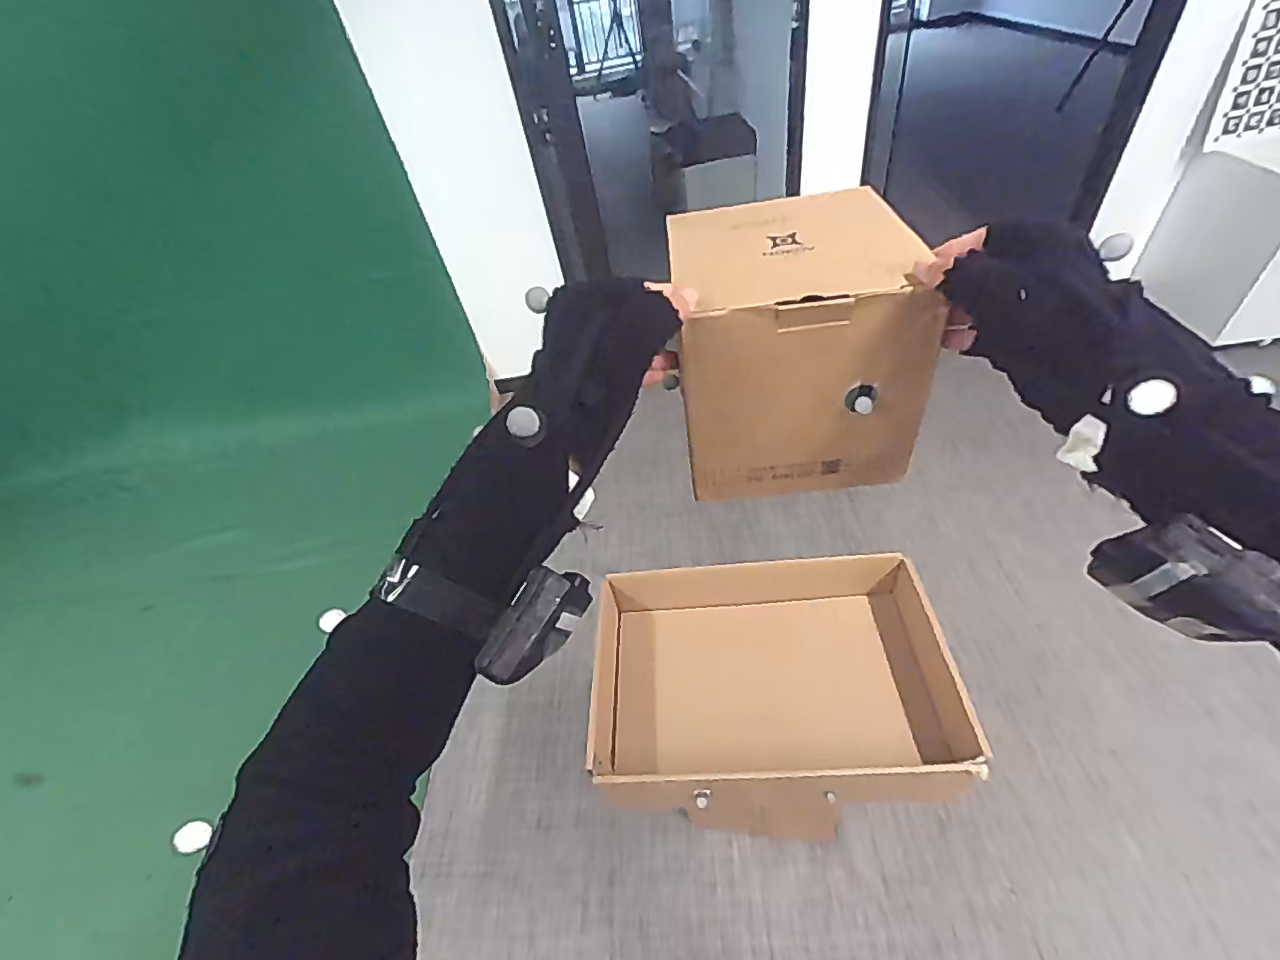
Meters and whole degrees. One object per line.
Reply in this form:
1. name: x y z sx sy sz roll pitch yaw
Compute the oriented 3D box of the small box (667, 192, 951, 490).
1. small box: 0.113 -0.105 0.434 0.168 0.176 0.179 -6 43 5
